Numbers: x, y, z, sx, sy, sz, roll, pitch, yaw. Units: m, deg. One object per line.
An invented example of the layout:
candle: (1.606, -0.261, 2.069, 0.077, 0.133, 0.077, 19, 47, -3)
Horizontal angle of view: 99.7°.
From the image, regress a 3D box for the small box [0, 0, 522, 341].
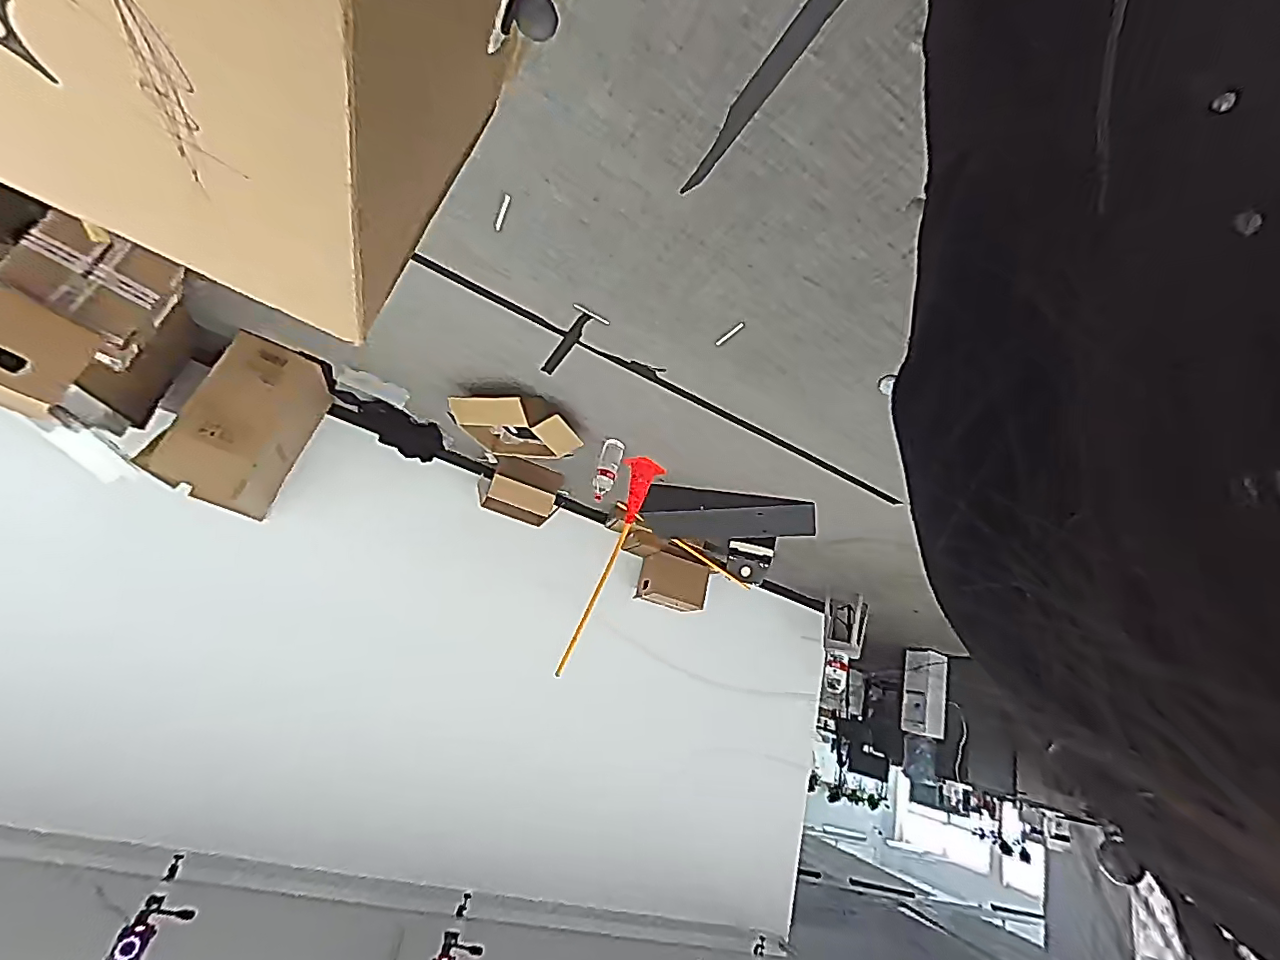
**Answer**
small box: (-0.133, -0.179, 0.149, 0.179, 0.176, 0.168, 23, 159, -19)

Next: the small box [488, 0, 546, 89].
small box: (-0.090, -0.323, 0.210, 0.179, 0.176, 0.168, 24, 157, -19)
